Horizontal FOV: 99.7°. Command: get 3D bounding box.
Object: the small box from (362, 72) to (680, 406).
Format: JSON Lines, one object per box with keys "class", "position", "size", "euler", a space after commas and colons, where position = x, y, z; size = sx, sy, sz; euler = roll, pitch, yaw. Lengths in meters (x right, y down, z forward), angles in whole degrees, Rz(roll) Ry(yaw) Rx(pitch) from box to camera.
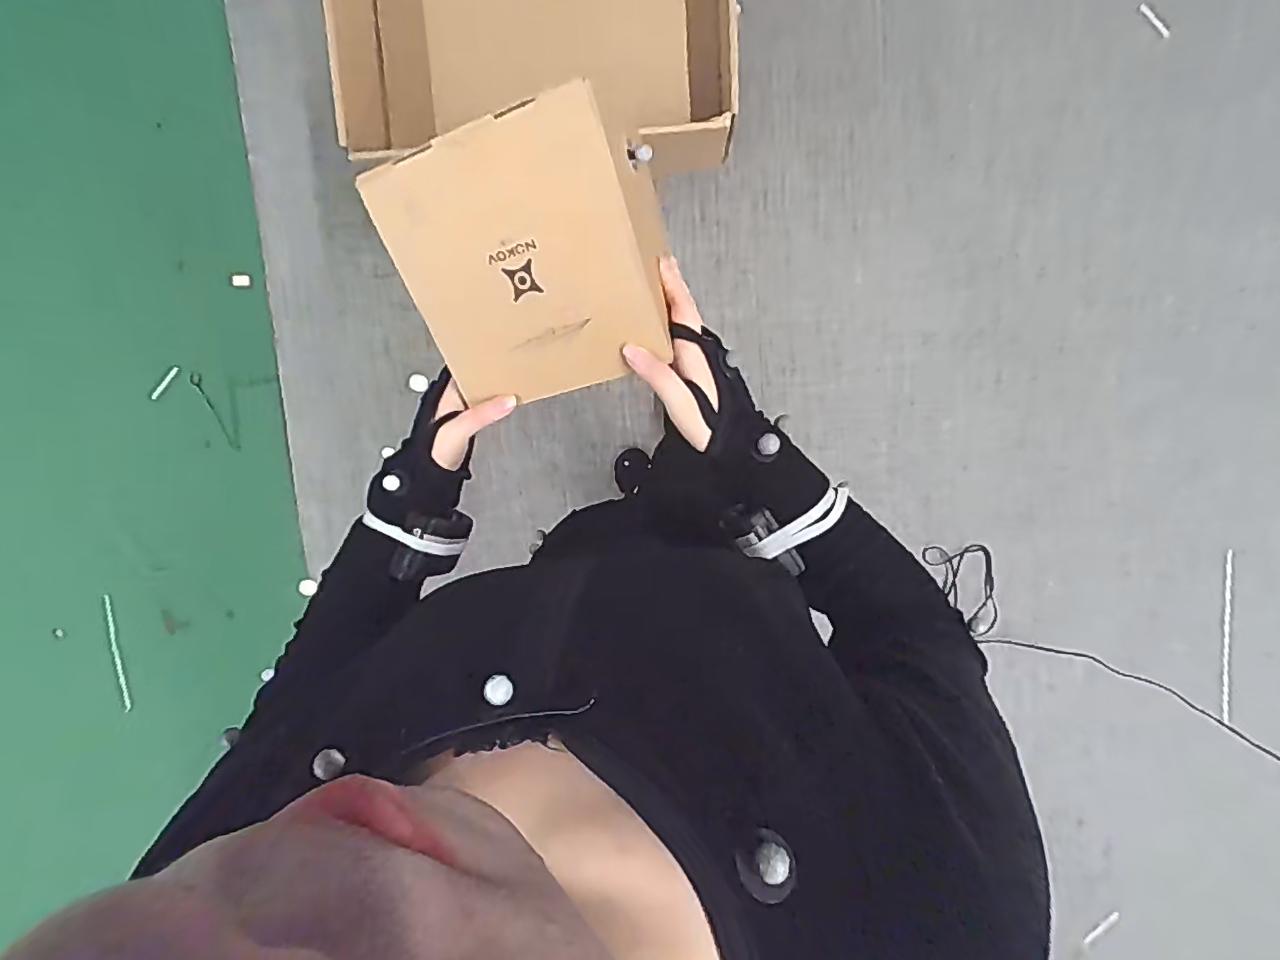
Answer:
{"class": "small box", "position": [-0.070, -0.184, 0.434], "size": [0.168, 0.176, 0.179], "euler": [-11, 118, 15]}
